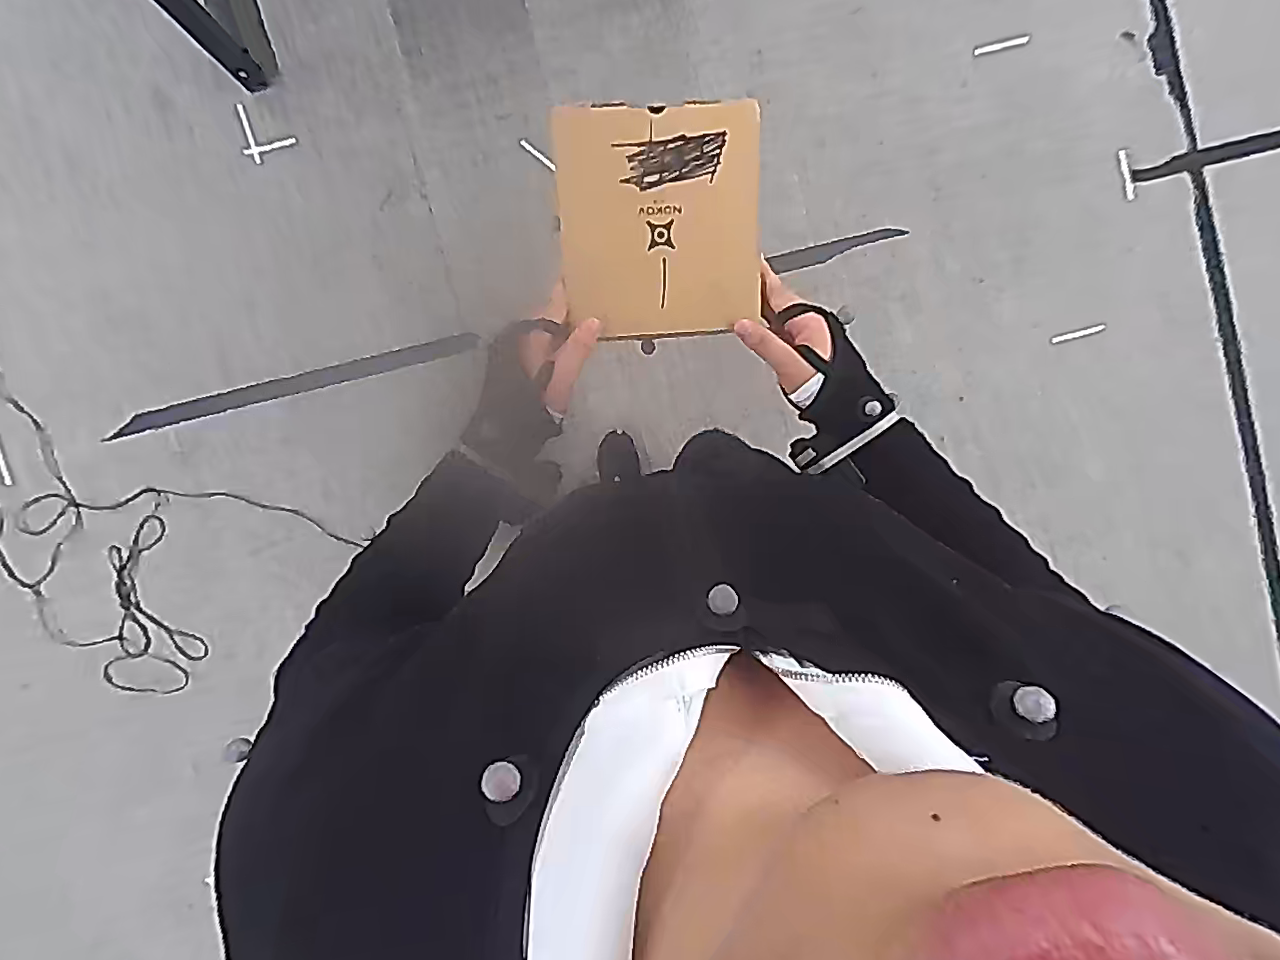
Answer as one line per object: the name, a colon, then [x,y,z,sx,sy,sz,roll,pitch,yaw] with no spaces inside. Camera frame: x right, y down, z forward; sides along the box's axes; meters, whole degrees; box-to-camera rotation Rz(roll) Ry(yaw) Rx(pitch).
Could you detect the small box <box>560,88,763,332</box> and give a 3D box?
small box: [0.014,-0.239,0.519,0.168,0.176,0.179,-4,104,-4]
